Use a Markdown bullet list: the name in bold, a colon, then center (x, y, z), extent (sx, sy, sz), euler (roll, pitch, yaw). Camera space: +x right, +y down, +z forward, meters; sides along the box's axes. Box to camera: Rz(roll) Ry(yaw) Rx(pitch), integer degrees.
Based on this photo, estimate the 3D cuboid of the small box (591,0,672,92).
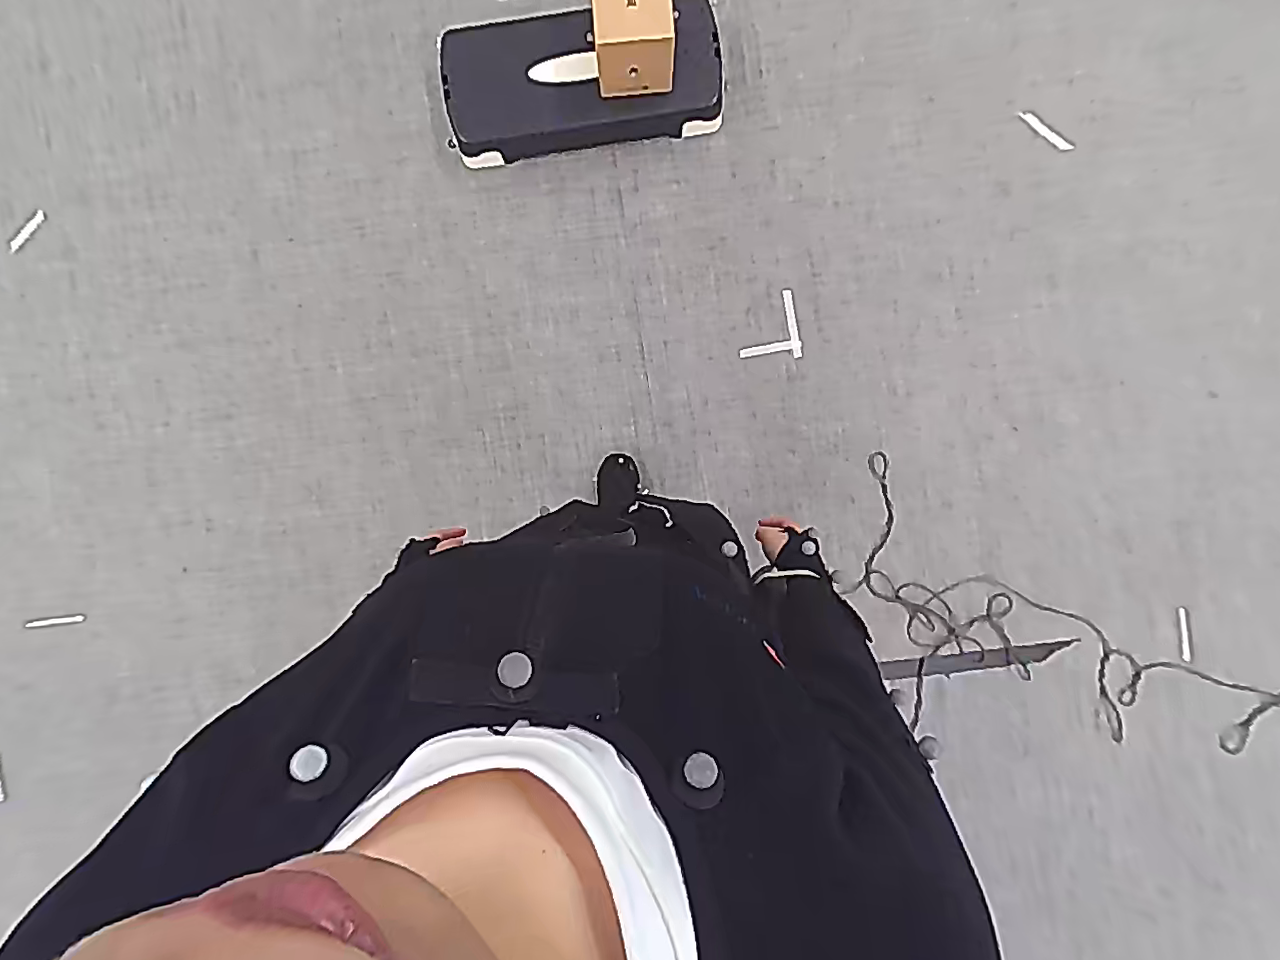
- **small box**: center (-0.017, -0.986, 1.182), extent (0.168, 0.176, 0.179), euler (-4, 92, 0)
